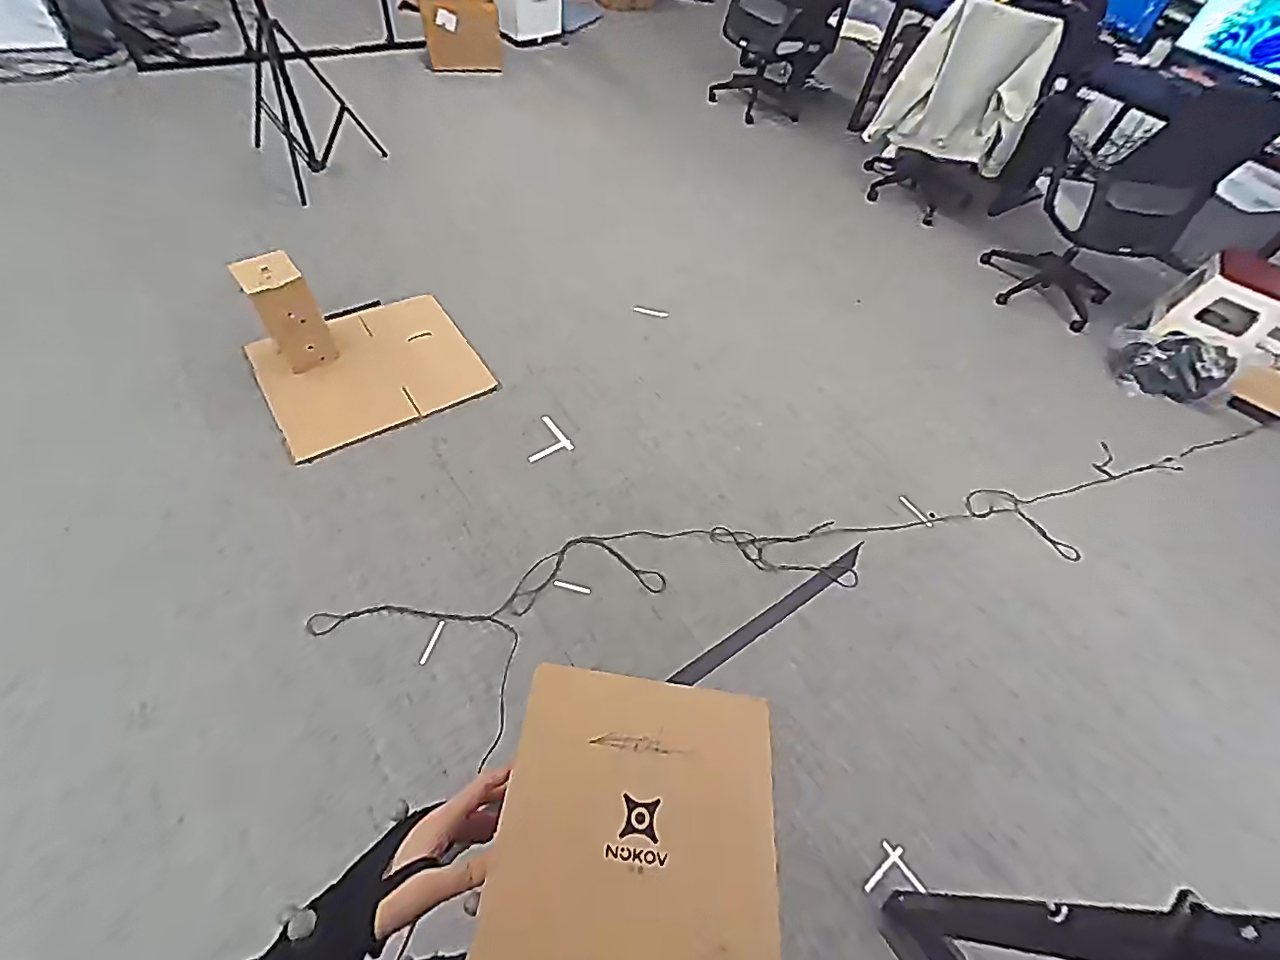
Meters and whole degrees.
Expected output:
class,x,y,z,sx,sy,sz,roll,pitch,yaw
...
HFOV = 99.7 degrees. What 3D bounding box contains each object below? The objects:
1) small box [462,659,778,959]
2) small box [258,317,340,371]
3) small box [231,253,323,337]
class,x,y,z,sx,sy,sz,roll,pitch,yaw
small box,-0.013,0.251,0.377,0.168,0.176,0.179,10,49,-3
small box,-1.185,-0.503,1.888,0.168,0.176,0.179,-35,67,-28
small box,-1.171,-0.597,1.753,0.168,0.176,0.179,-34,65,-26
